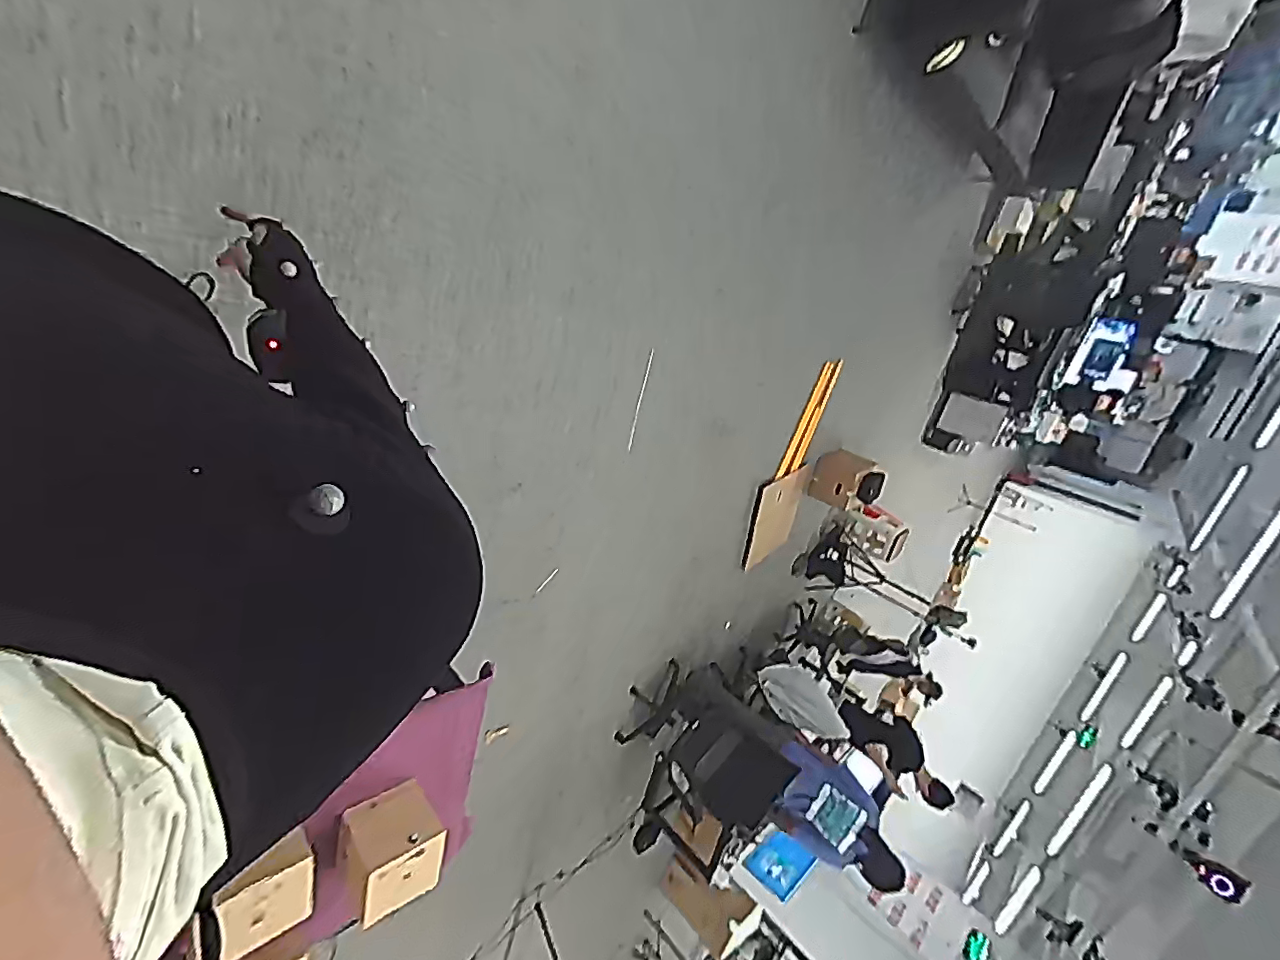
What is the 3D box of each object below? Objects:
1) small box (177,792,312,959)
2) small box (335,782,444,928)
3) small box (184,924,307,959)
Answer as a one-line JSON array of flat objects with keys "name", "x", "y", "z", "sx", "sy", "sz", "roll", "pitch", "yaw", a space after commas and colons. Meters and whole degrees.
[{"name": "small box", "x": -0.715, "y": 0.717, "z": 0.977, "sx": 0.168, "sy": 0.176, "sz": 0.179, "roll": -9, "pitch": 120, "yaw": -47}, {"name": "small box", "x": -0.569, "y": 0.833, "z": 1.220, "sx": 0.168, "sy": 0.176, "sz": 0.179, "roll": -7, "pitch": 119, "yaw": -49}, {"name": "small box", "x": -0.781, "y": 0.977, "z": 1.072, "sx": 0.168, "sy": 0.176, "sz": 0.179, "roll": -8, "pitch": 119, "yaw": -46}]
